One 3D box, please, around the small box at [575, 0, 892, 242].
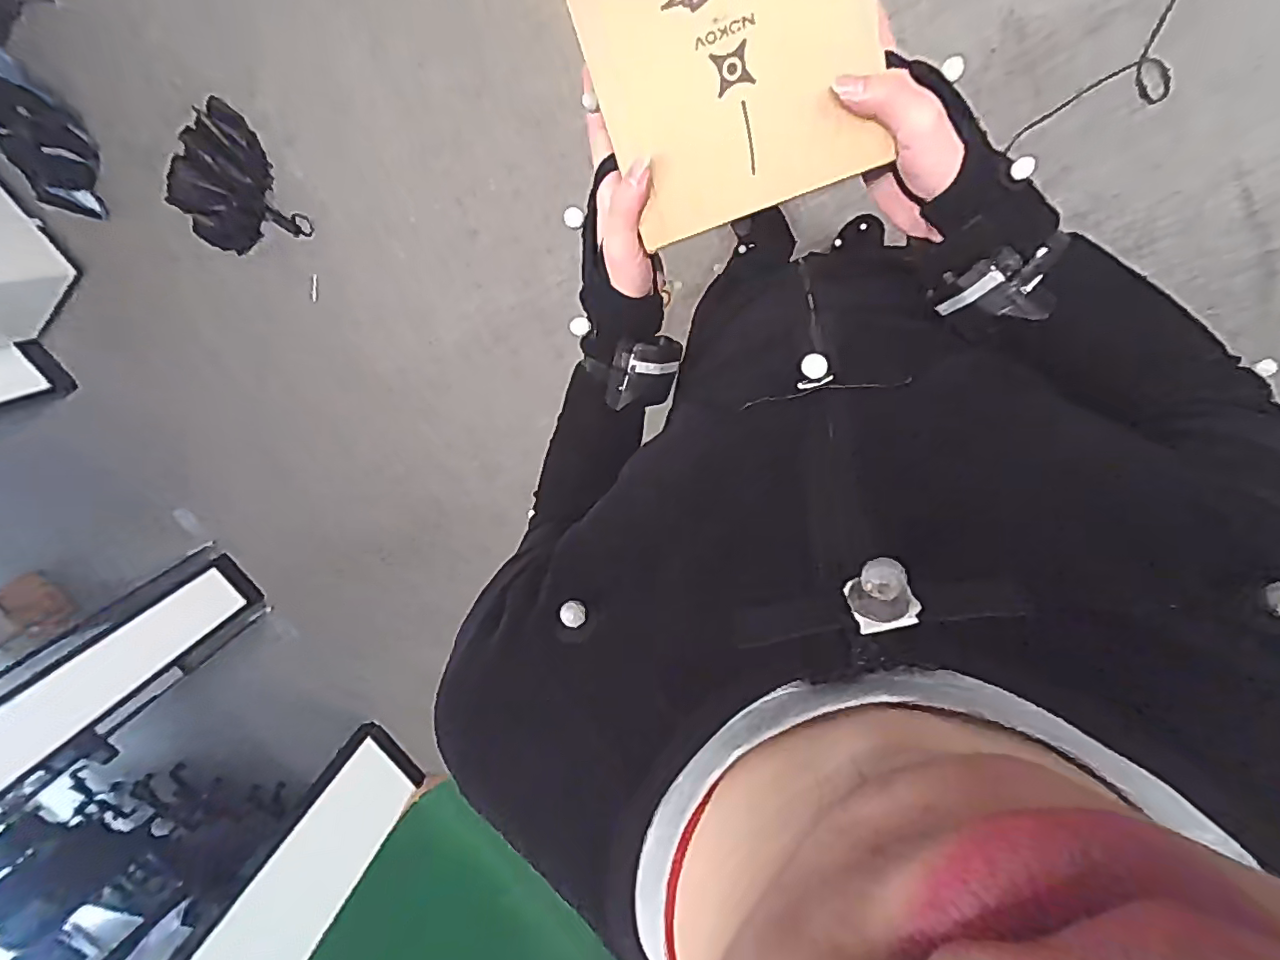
[{"bbox_3d":[0.058,-0.287,0.388,0.168,0.176,0.179,-15,114,11],"label":"small box"}]
